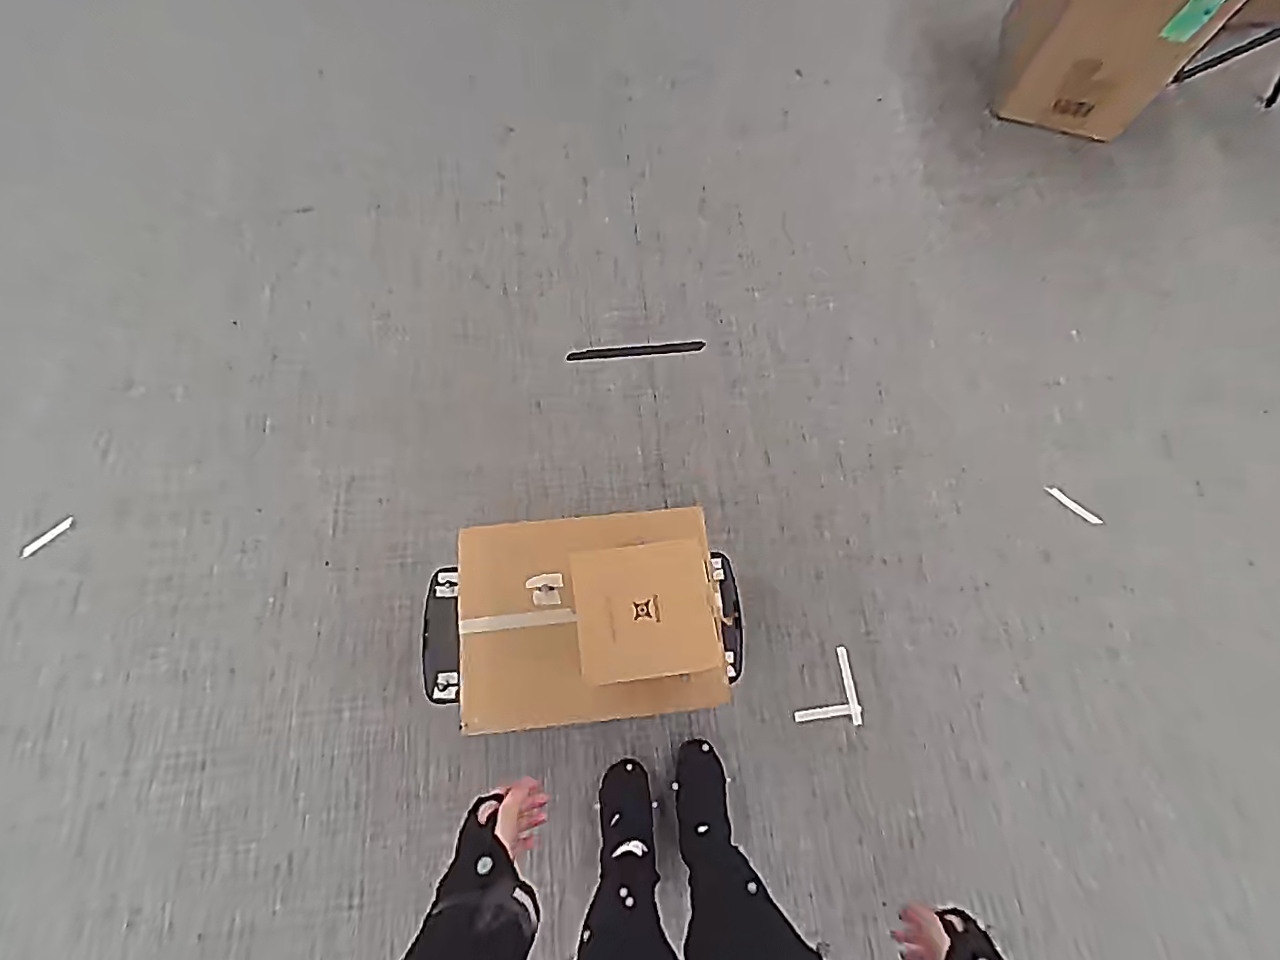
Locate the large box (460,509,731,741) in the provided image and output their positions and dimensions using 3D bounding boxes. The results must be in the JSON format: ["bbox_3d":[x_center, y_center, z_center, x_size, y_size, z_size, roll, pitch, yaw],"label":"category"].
[{"bbox_3d":[-0.077,0.256,0.978,0.408,0.320,0.320,-6,72,-2],"label":"large box"}]

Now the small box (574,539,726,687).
[{"bbox_3d":[0.008,0.183,0.746,0.179,0.176,0.168,-7,73,-3],"label":"small box"}]
